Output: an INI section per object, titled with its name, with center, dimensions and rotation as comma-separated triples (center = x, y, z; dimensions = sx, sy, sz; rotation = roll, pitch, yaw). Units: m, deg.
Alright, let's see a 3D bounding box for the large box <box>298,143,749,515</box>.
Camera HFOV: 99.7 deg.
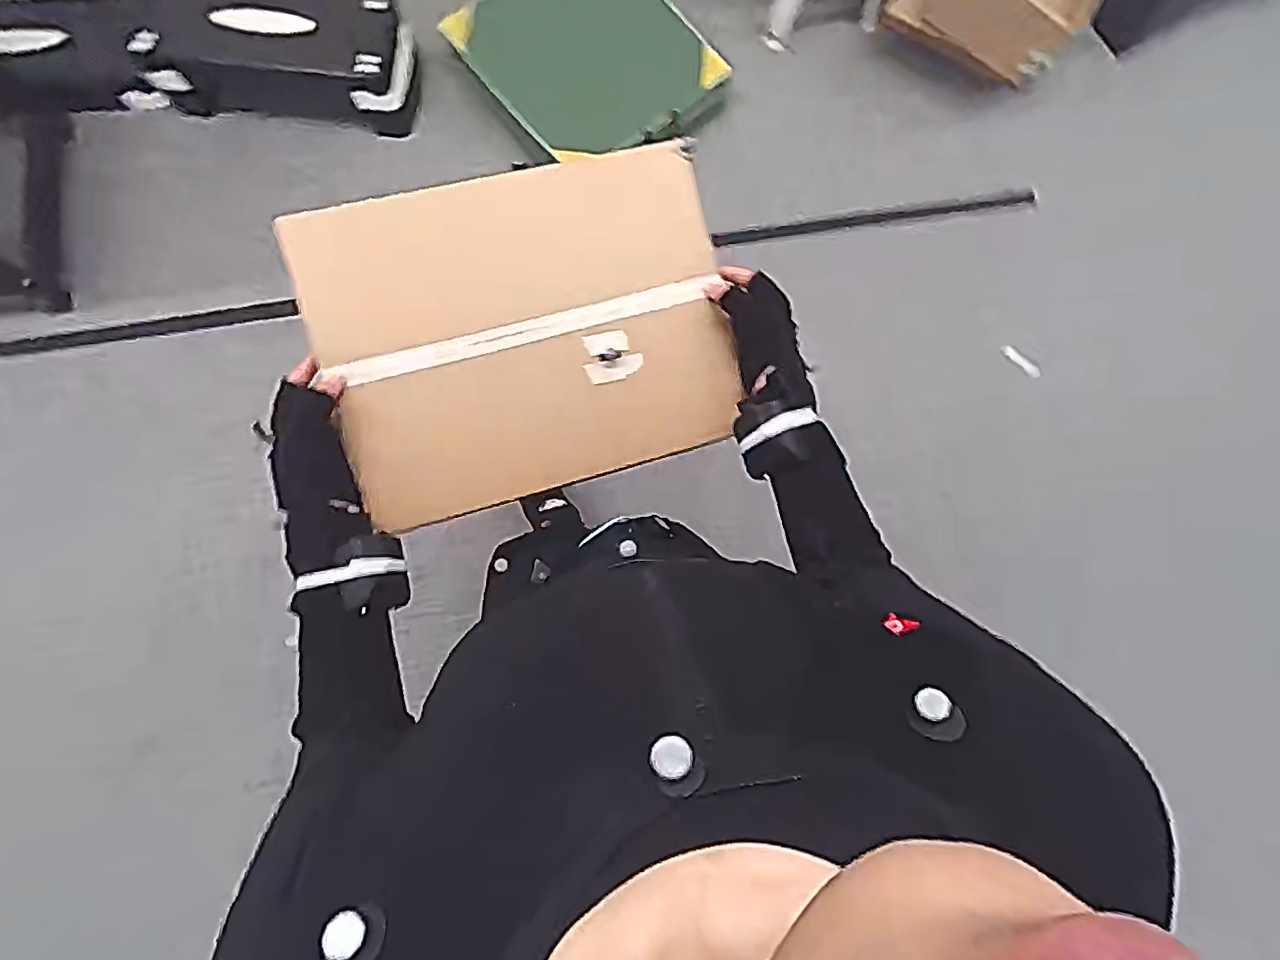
[large box]
center = -0.131, -0.163, 0.705
dimensions = 0.408, 0.320, 0.320
rotation = -16, 93, -9
